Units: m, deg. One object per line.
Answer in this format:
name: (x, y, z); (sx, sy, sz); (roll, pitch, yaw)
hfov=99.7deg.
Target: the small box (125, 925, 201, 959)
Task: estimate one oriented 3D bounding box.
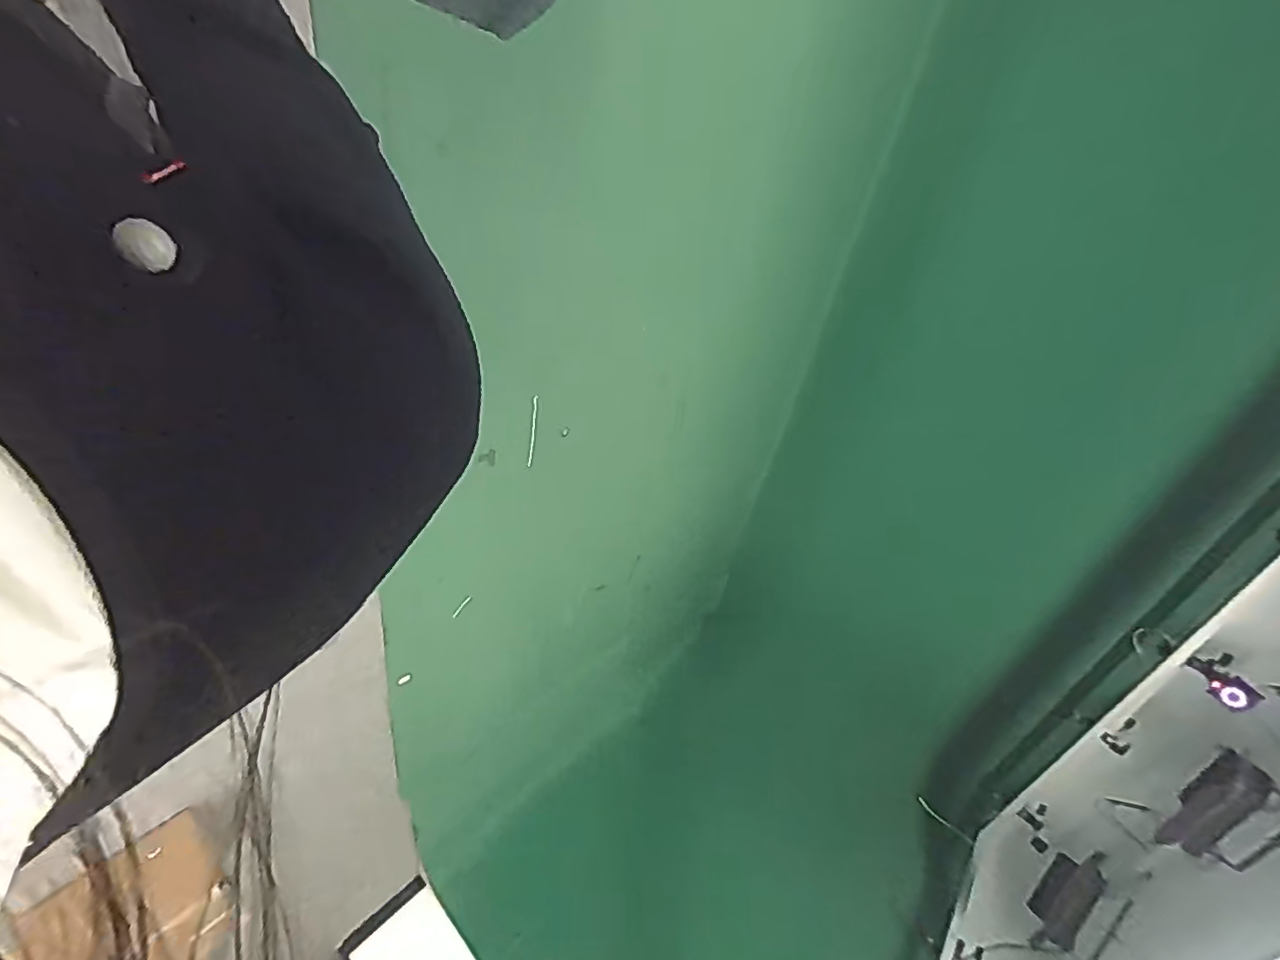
small box: (-1.334, 1.397, 1.495); (0.179, 0.176, 0.168); (-28, 137, -41)
